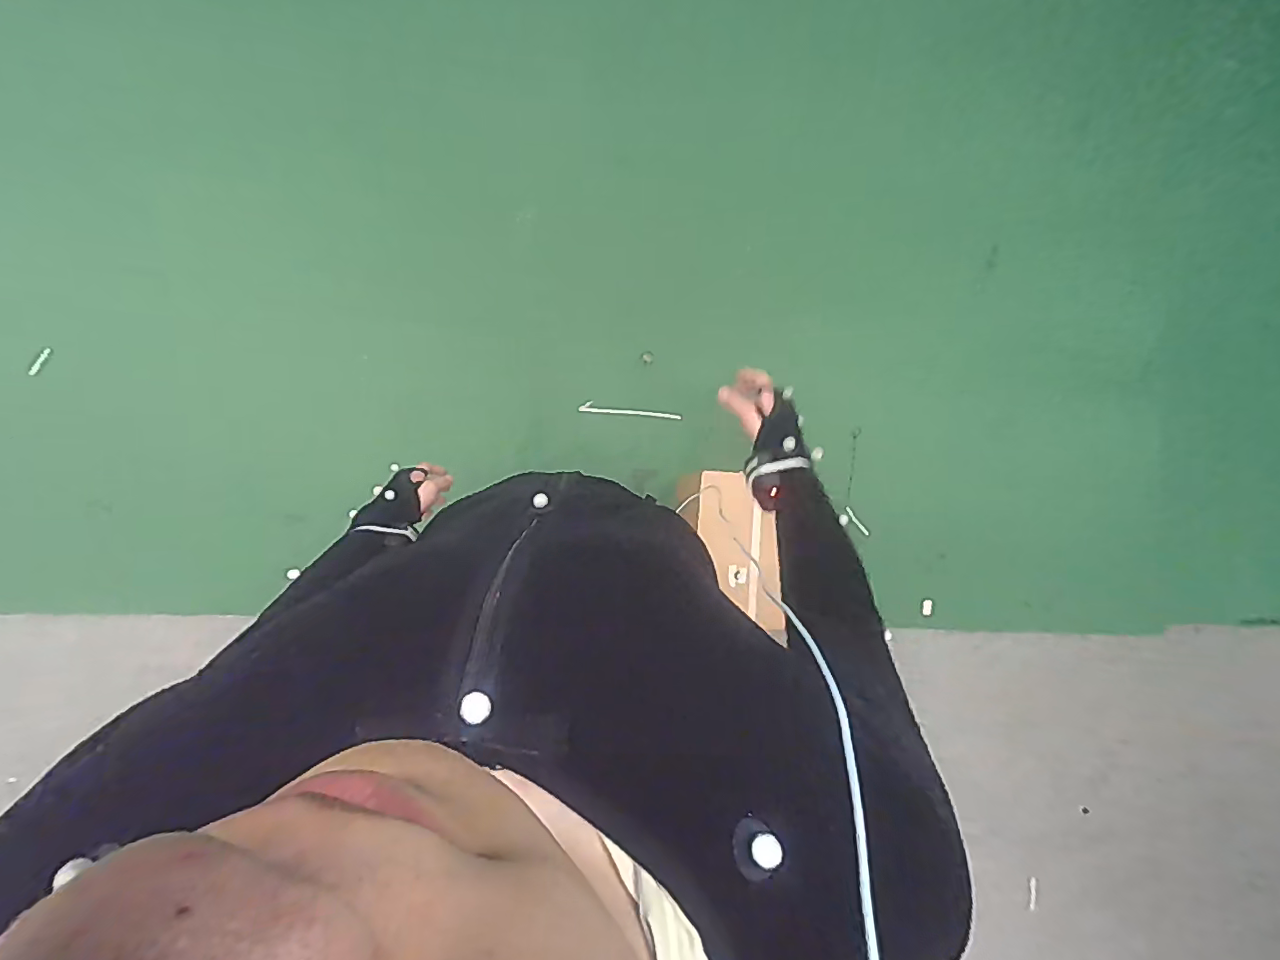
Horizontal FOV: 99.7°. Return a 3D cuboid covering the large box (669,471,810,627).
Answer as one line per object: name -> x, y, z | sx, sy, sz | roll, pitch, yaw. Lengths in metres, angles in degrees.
large box -> 0.271, 0.183, 1.561 | 0.320, 0.320, 0.408 | 4, 89, -8
